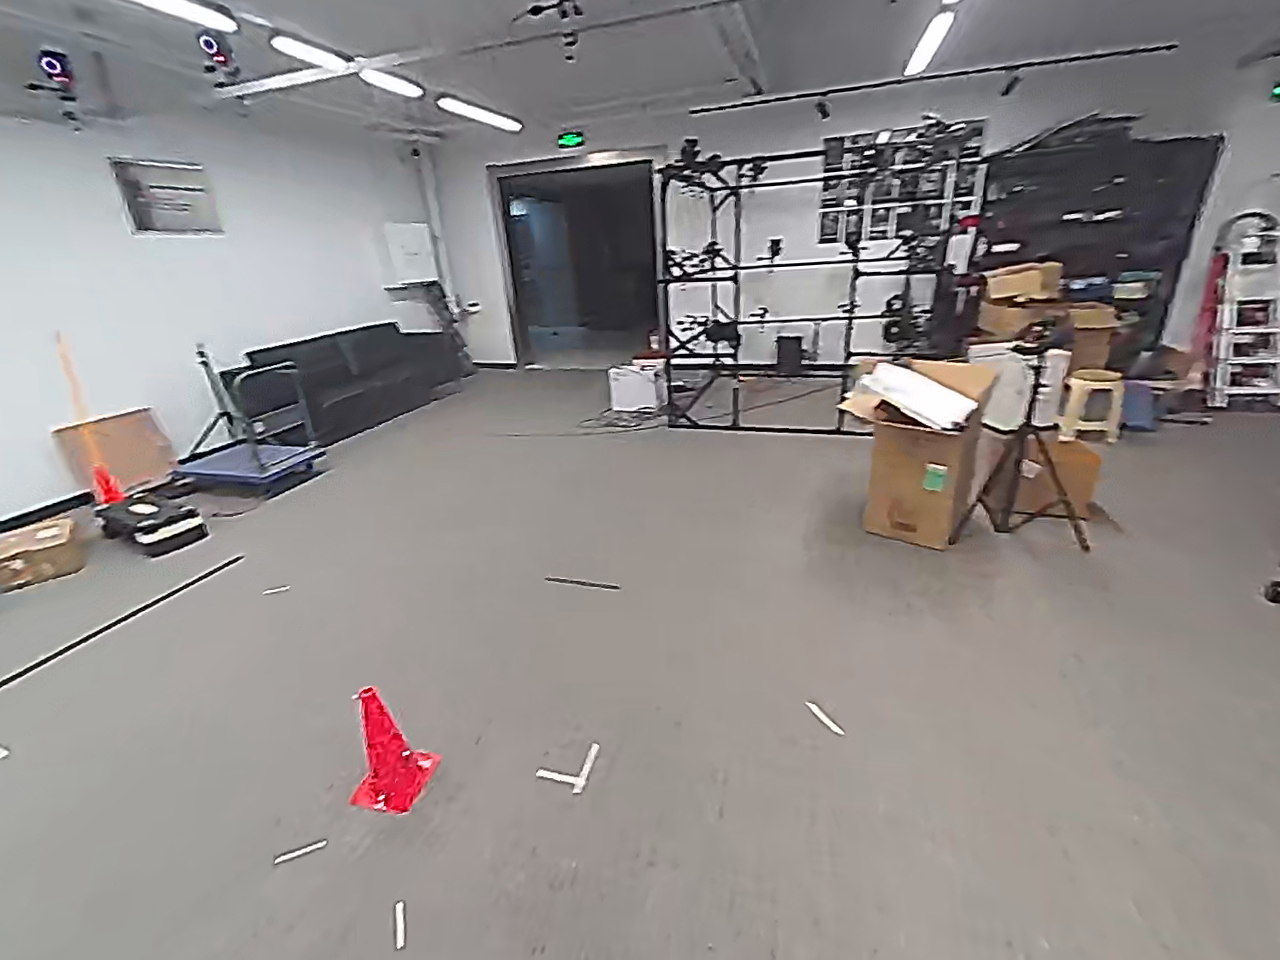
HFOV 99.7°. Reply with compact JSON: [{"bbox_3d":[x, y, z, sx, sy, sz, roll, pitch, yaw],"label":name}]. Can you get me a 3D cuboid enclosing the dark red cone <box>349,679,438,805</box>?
[{"bbox_3d":[-0.751,0.738,1.574,0.202,0.394,0.201,1,24,12],"label":"dark red cone"}]
